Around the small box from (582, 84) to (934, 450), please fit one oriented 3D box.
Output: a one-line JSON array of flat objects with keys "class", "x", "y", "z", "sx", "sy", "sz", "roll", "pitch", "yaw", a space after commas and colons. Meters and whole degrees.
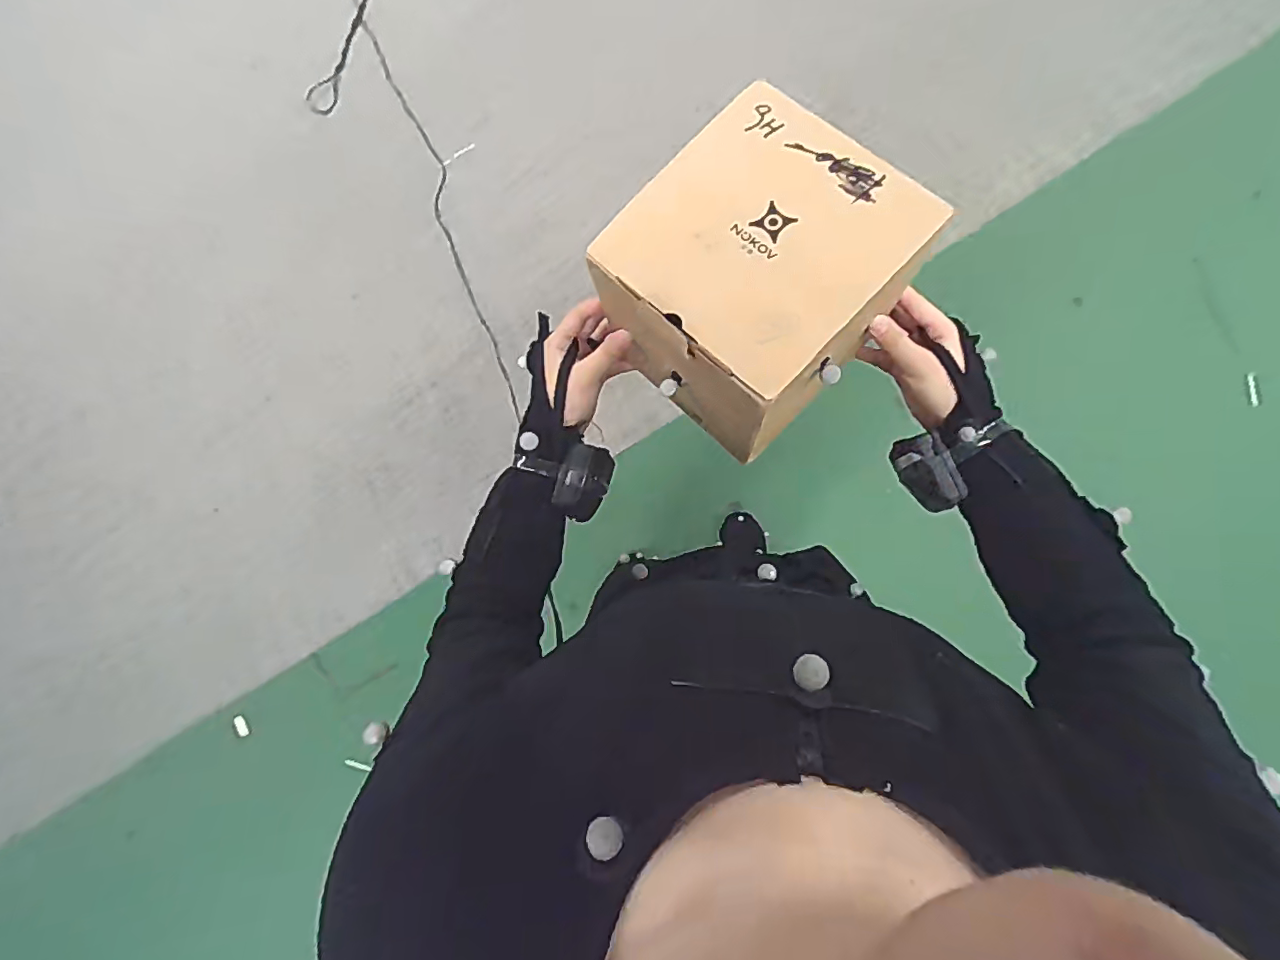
[{"class": "small box", "x": 0.085, "y": -0.149, "z": 0.436, "sx": 0.168, "sy": 0.176, "sz": 0.179, "roll": 43, "pitch": 87, "yaw": 13}]
